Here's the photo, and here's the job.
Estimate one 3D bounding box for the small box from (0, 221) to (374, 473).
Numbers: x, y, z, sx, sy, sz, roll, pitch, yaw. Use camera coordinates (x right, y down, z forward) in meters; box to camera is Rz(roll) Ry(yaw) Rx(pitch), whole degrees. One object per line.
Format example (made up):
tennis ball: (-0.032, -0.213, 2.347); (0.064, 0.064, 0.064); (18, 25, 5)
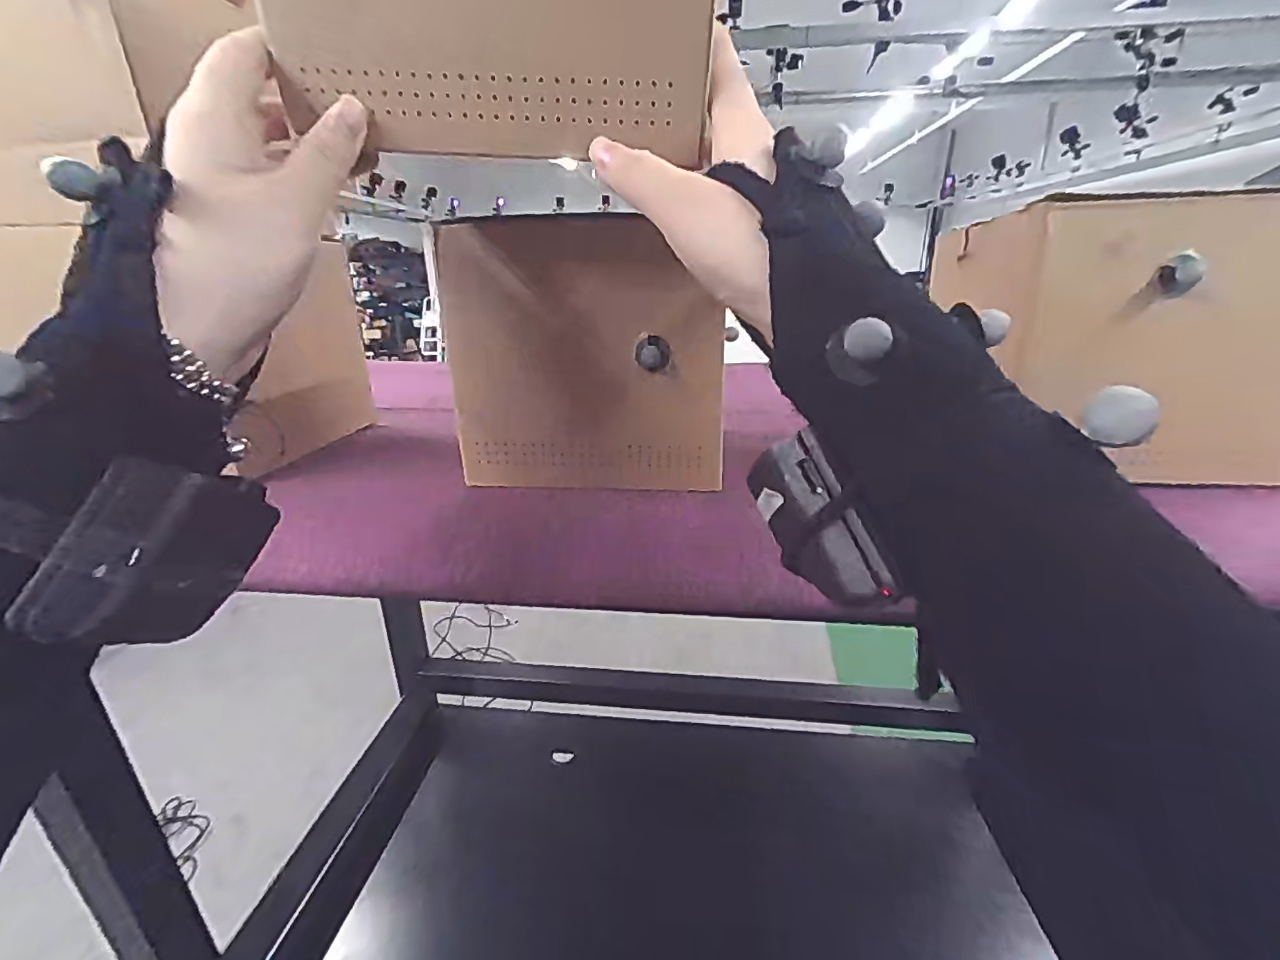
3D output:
small box: (-0.343, -0.110, 0.440); (0.168, 0.176, 0.179); (2, 20, 4)

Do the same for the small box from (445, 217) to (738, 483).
small box: (-0.022, -0.100, 0.416); (0.179, 0.176, 0.168); (0, 20, 5)

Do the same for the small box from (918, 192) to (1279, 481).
small box: (0.326, -0.101, 0.402); (0.179, 0.176, 0.168); (2, 18, 7)

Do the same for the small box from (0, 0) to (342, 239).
small box: (-0.349, -0.261, 0.382); (0.179, 0.176, 0.168); (1, 21, 2)
